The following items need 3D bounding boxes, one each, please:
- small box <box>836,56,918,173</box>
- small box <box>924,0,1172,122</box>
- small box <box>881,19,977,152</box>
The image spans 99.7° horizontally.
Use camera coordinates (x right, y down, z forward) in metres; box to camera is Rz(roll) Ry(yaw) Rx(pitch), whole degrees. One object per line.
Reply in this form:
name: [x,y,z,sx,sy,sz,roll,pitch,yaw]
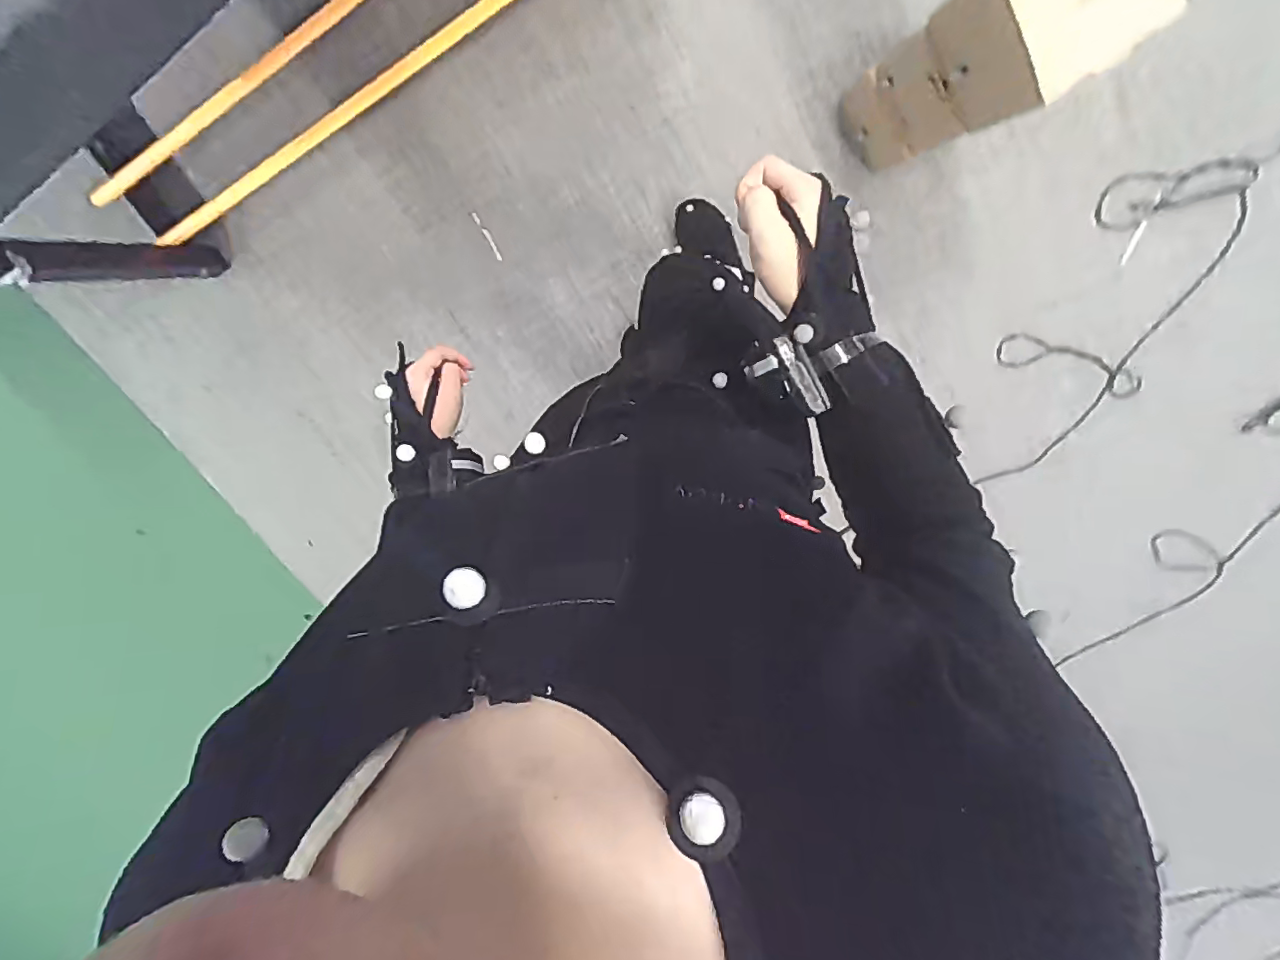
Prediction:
small box: [0.500,-0.711,1.006,0.179,0.176,0.168,-34,106,13]
small box: [0.508,-0.601,0.697,0.168,0.176,0.179,-33,108,12]
small box: [0.508,-0.657,0.851,0.179,0.176,0.168,-33,107,12]
